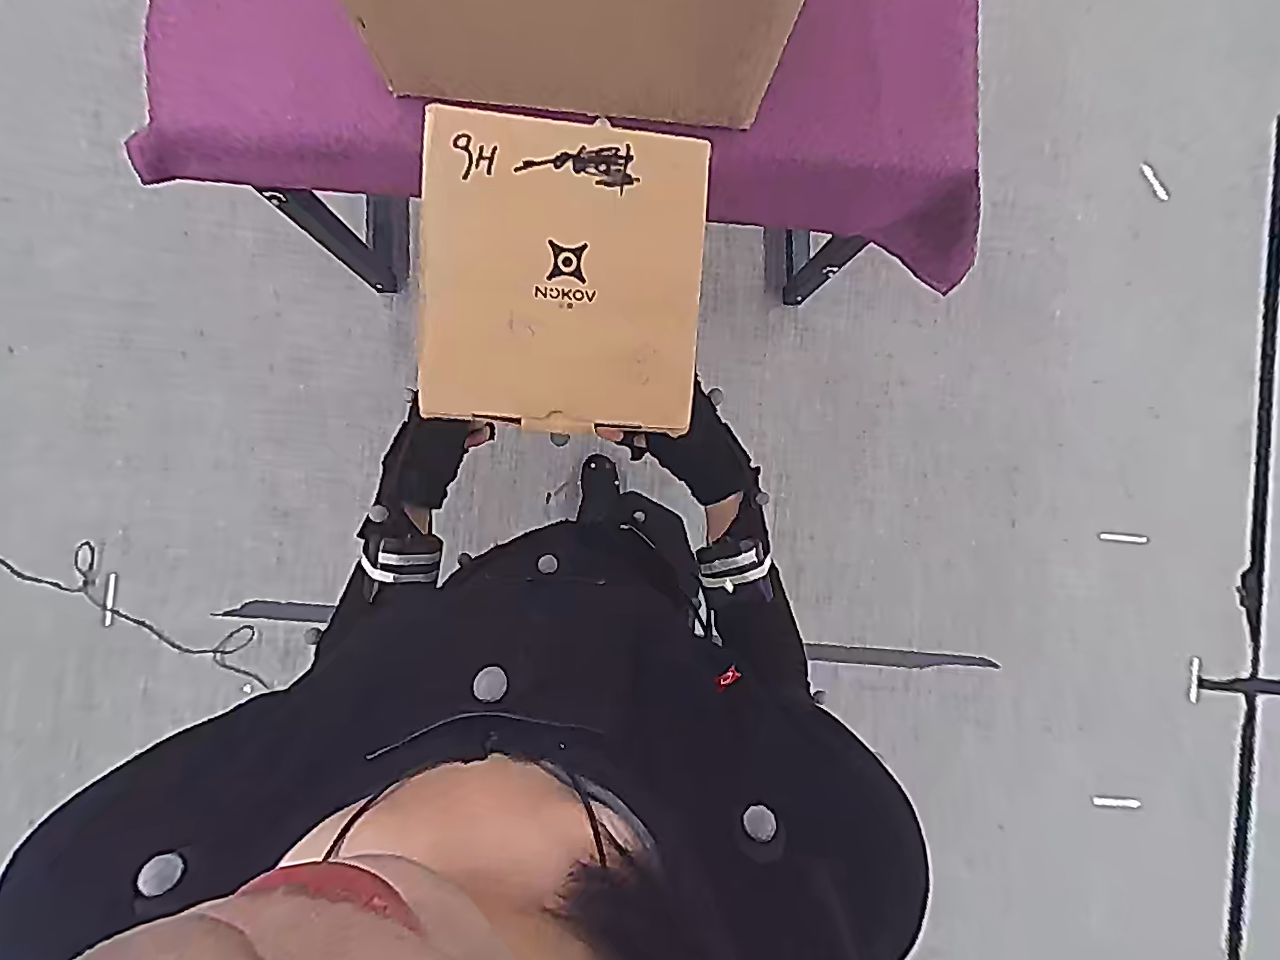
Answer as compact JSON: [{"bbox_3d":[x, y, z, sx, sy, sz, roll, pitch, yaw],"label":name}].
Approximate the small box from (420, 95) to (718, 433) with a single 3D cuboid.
[{"bbox_3d":[-0.050,-0.130,0.392,0.168,0.176,0.179,3,97,-7],"label":"small box"}]
